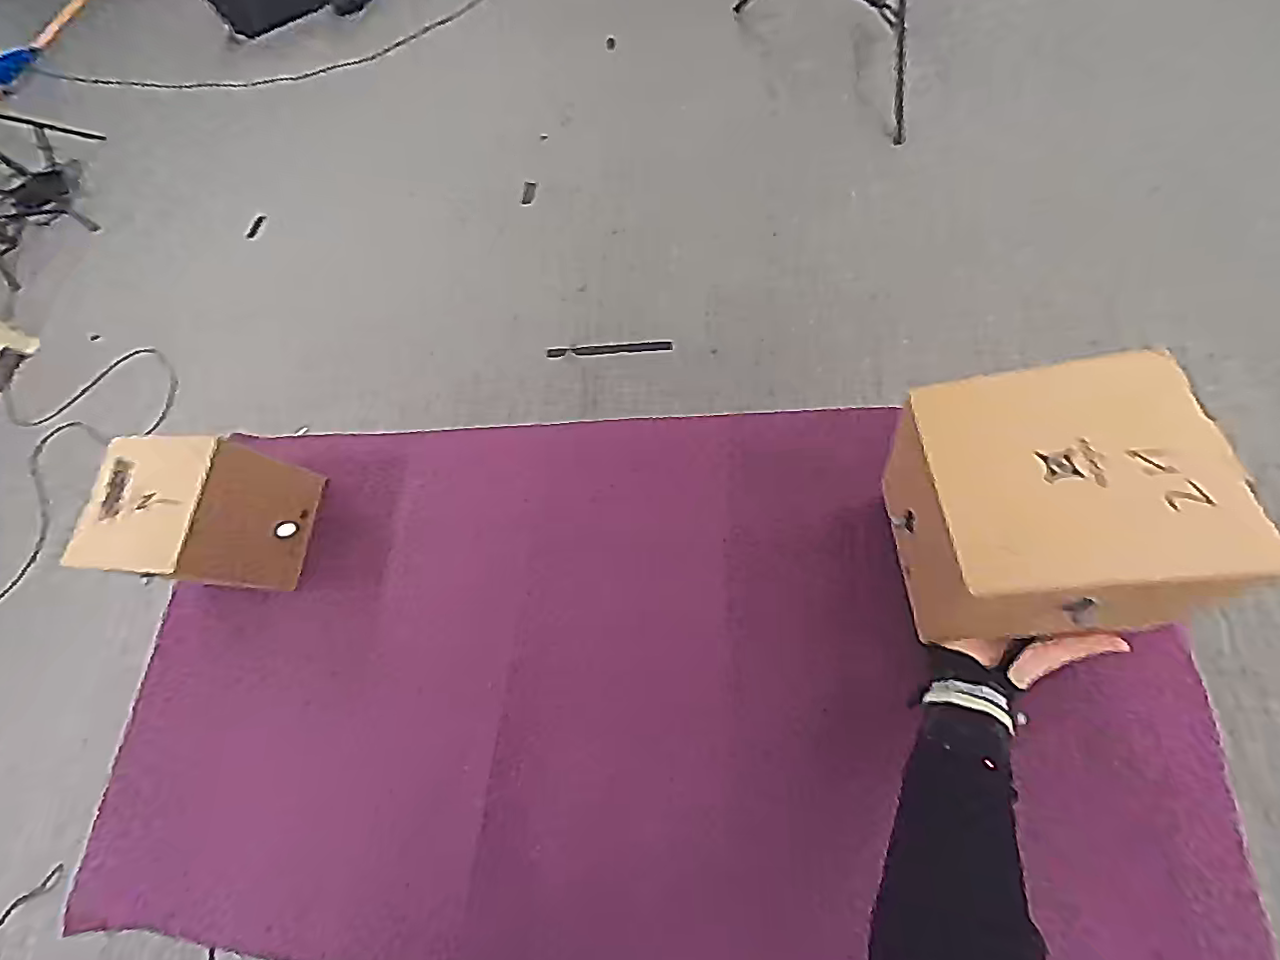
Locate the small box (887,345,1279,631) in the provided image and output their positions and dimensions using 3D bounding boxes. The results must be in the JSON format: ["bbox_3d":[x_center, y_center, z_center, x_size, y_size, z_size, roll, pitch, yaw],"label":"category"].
[{"bbox_3d":[0.312,0.021,0.440,0.179,0.176,0.168,-8,62,13],"label":"small box"}]

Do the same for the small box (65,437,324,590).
[{"bbox_3d":[-0.565,0.050,0.709,0.179,0.176,0.168,1,73,14],"label":"small box"}]
